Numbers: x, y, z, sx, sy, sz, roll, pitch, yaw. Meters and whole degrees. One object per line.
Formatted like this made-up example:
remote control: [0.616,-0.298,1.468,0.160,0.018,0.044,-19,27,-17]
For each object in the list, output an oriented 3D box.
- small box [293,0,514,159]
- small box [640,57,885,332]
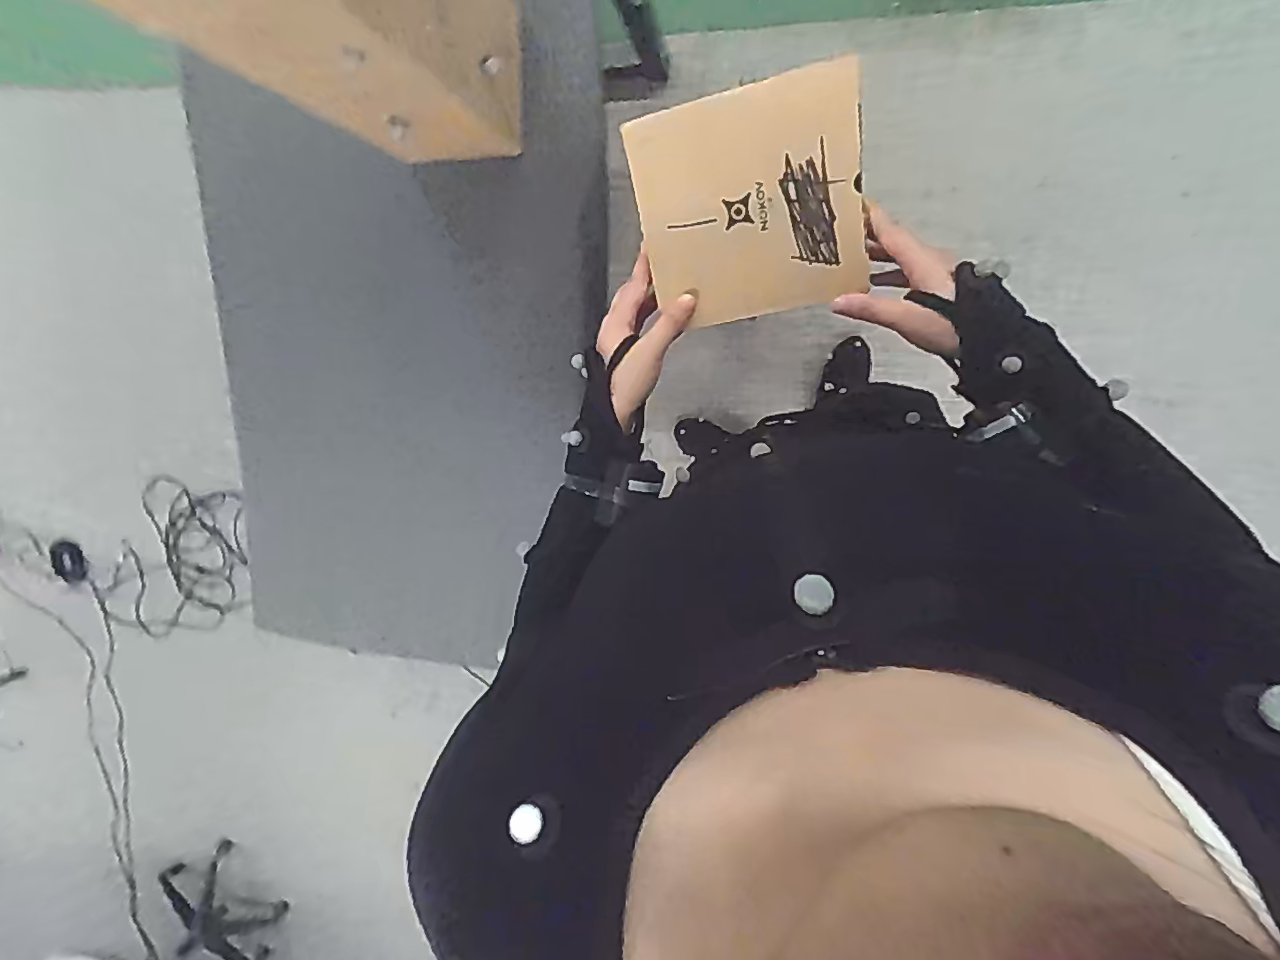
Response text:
small box: [-0.254,-0.486,0.618,0.179,0.176,0.168,4,105,13]
small box: [0.108,-0.247,0.491,0.179,0.176,0.168,-7,115,13]
